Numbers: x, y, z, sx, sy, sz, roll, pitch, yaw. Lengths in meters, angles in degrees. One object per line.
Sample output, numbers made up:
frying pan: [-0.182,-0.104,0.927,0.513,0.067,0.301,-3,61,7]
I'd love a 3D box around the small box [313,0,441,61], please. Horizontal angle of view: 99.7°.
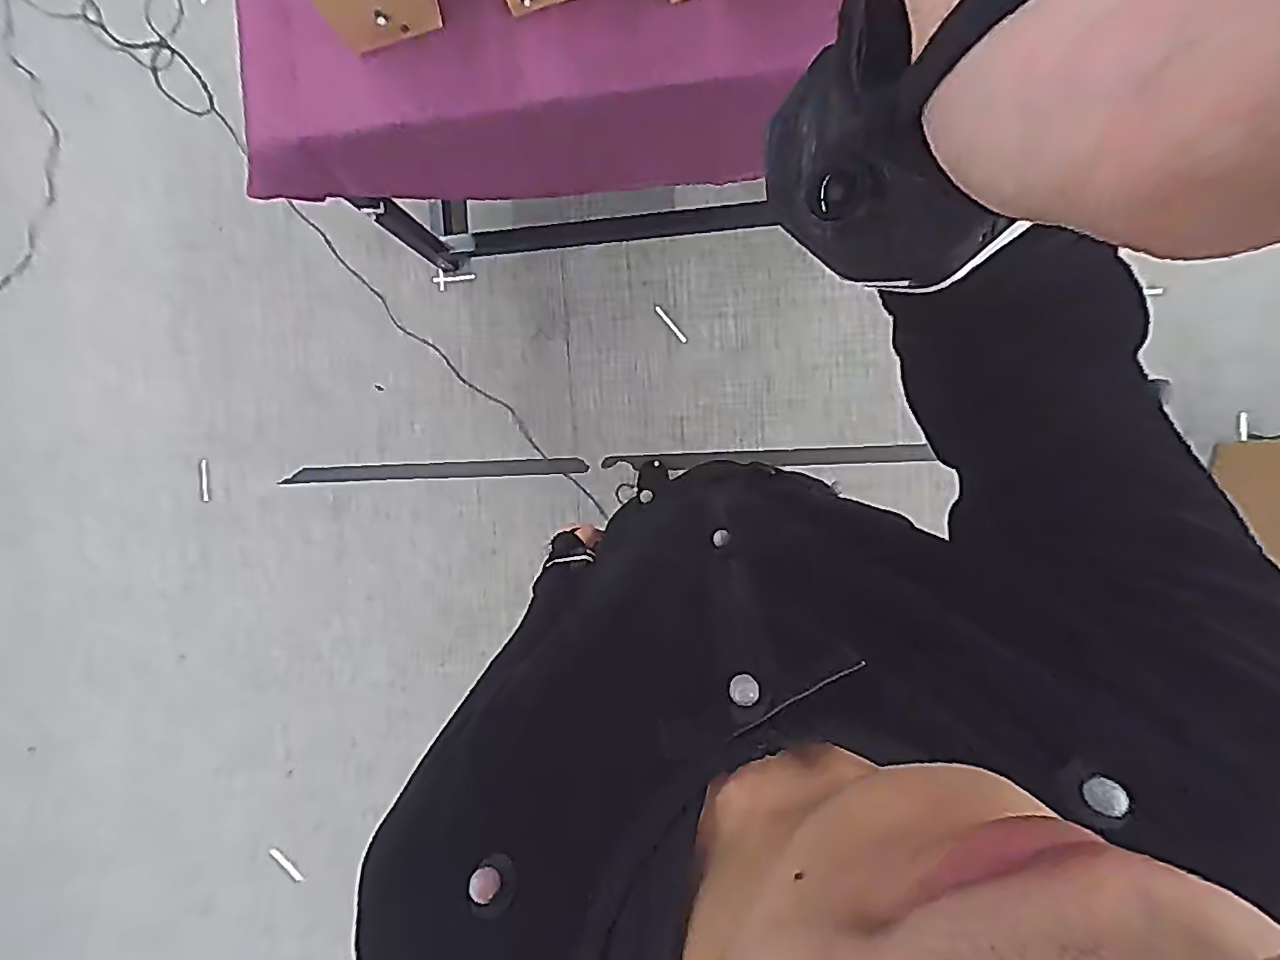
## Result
small box: [-0.446,-0.837,0.870,0.168,0.176,0.179,-12,90,7]
